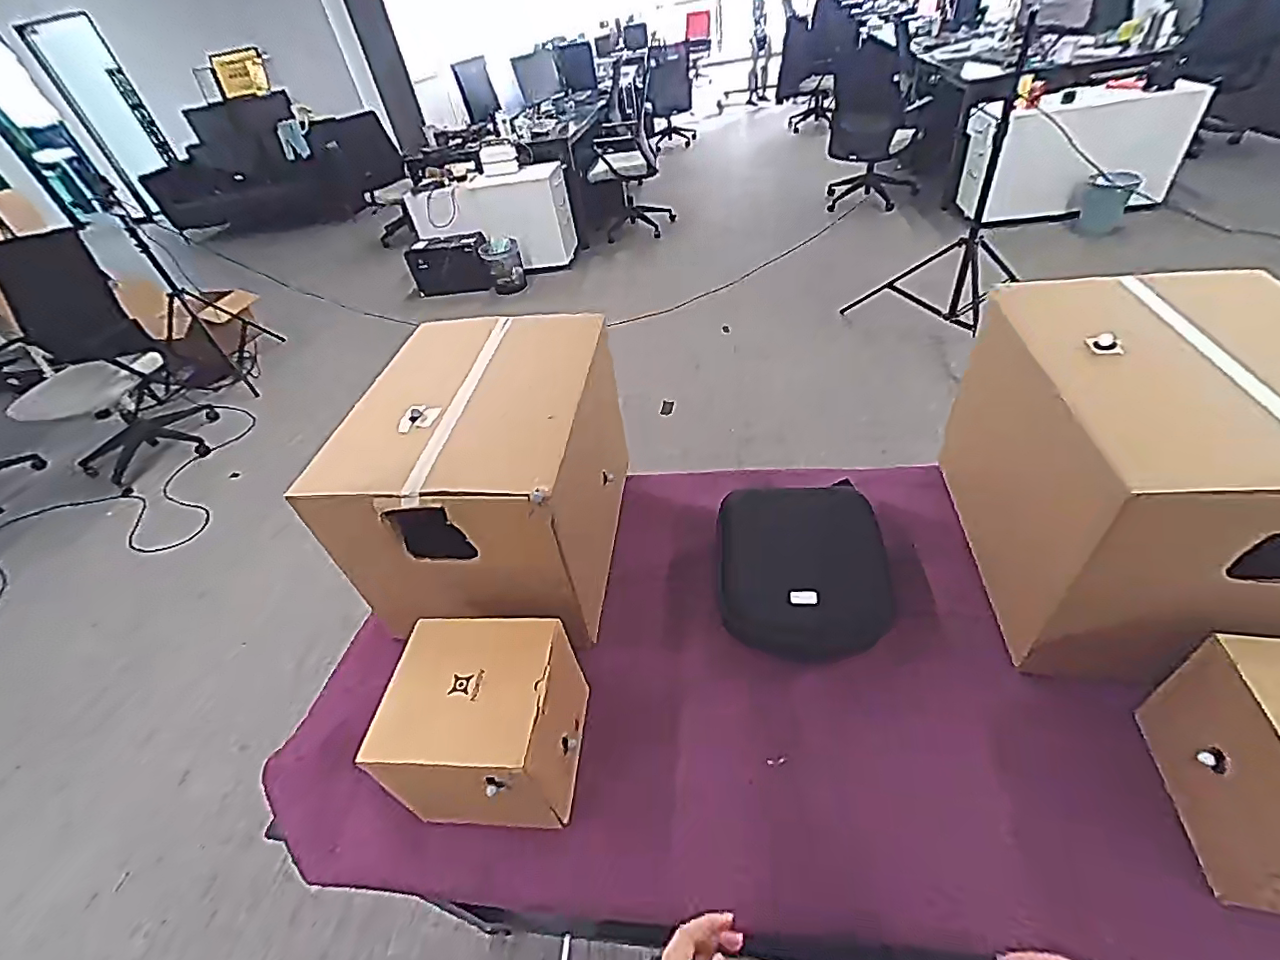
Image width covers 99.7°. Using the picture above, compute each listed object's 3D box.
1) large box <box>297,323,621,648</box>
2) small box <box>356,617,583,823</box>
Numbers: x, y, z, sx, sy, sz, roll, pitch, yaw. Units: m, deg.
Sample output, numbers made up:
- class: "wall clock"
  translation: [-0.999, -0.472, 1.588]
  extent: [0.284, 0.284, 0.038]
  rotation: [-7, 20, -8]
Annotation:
- class: "large box"
  translation: [-0.211, -0.001, 0.833]
  extent: [0.320, 0.320, 0.408]
  rotation: [-1, 45, 8]
- class: "small box"
  translation: [-0.177, 0.277, 0.626]
  extent: [0.179, 0.176, 0.168]
  rotation: [-3, 41, 7]
